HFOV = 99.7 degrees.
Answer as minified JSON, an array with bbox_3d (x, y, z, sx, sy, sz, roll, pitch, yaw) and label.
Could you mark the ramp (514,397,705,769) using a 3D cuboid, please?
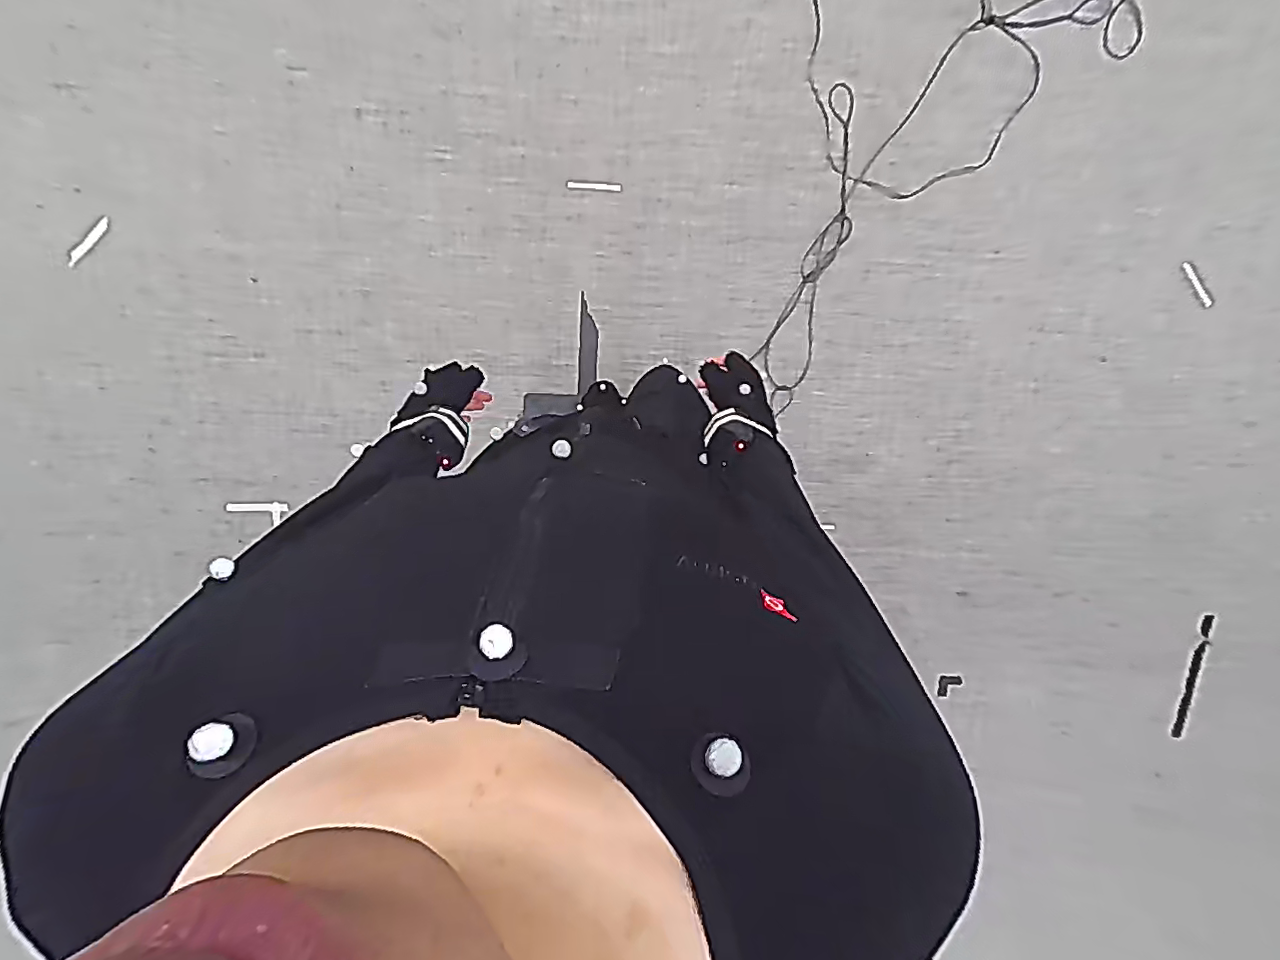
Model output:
[{"bbox_3d":[-0.085,0.277,1.471,0.509,0.206,0.991,1,99,1],"label":"ramp"}]
